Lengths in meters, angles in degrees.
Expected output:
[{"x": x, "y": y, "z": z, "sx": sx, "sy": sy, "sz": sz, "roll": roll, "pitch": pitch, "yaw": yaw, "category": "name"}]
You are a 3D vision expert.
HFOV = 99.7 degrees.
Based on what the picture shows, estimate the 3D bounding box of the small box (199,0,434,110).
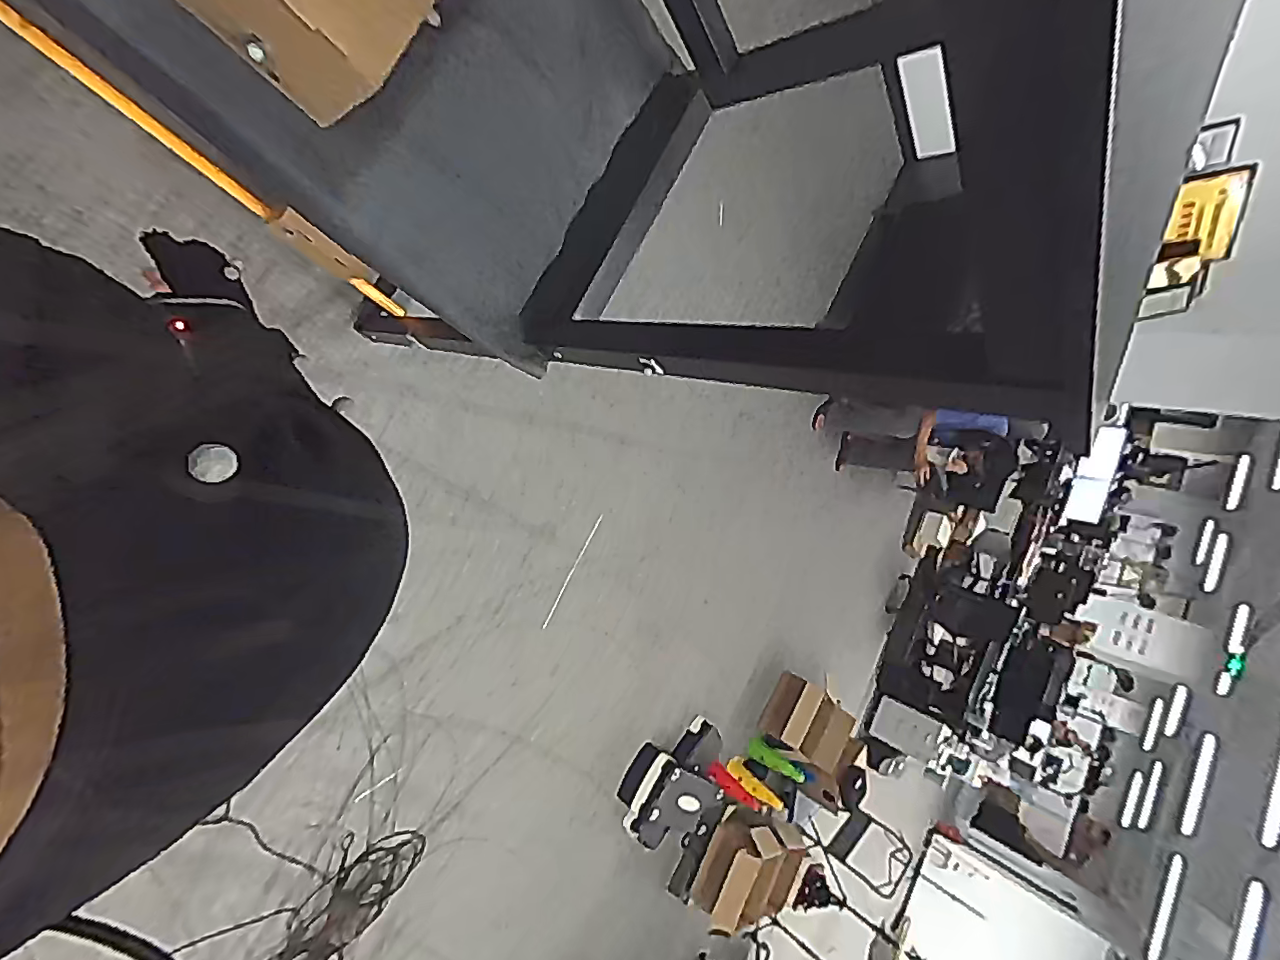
[{"x": -0.317, "y": -0.516, "z": 0.532, "sx": 0.168, "sy": 0.176, "sz": 0.179, "roll": 36, "pitch": 76, "yaw": -46, "category": "small box"}]
